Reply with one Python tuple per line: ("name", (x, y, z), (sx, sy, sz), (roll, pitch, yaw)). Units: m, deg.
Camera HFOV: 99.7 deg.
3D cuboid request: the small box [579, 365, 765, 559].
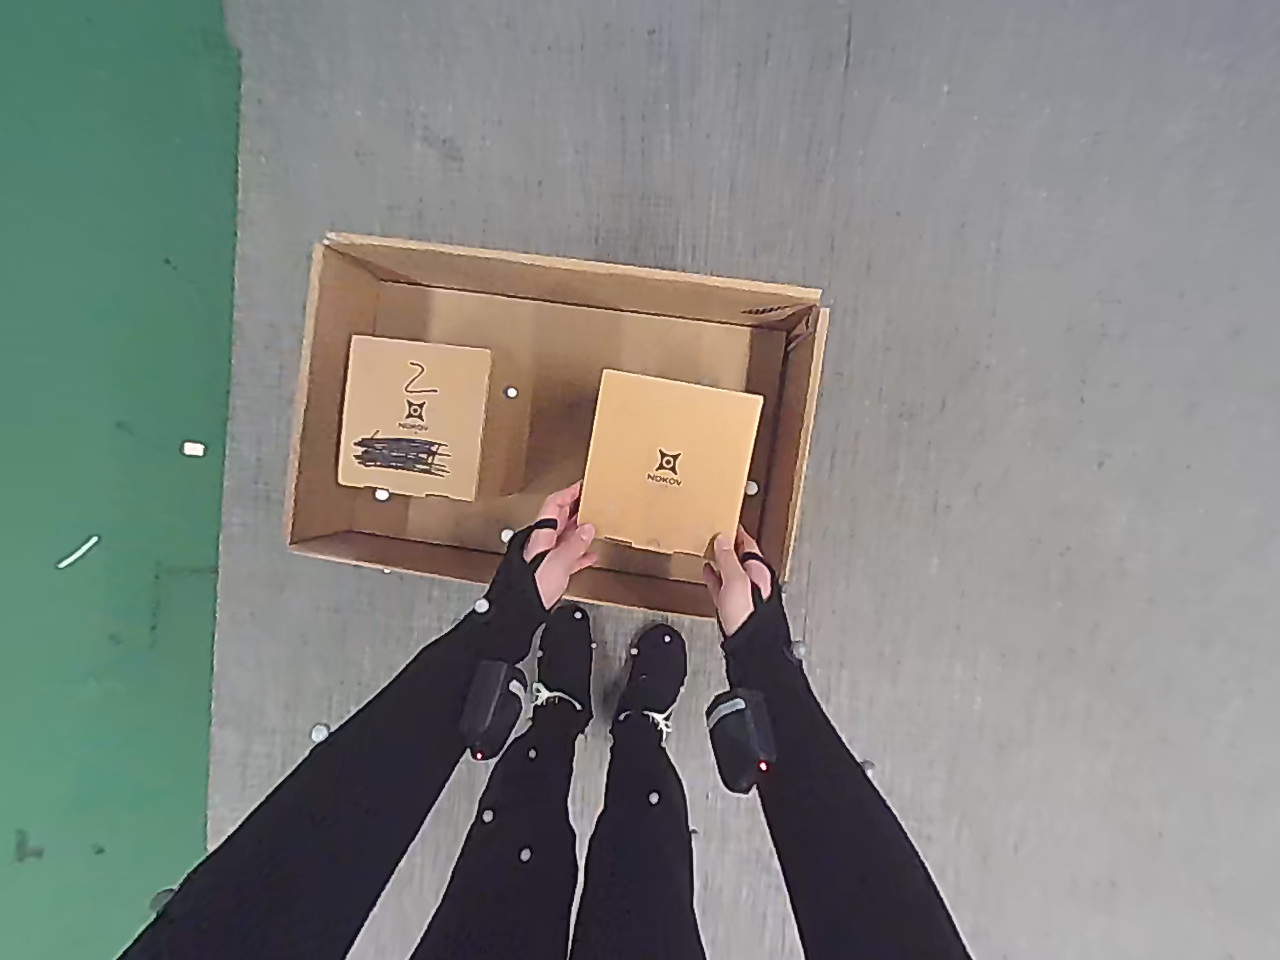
("small box", (0.035, -0.024, 0.632), (0.168, 0.176, 0.179), (11, 96, 3))
